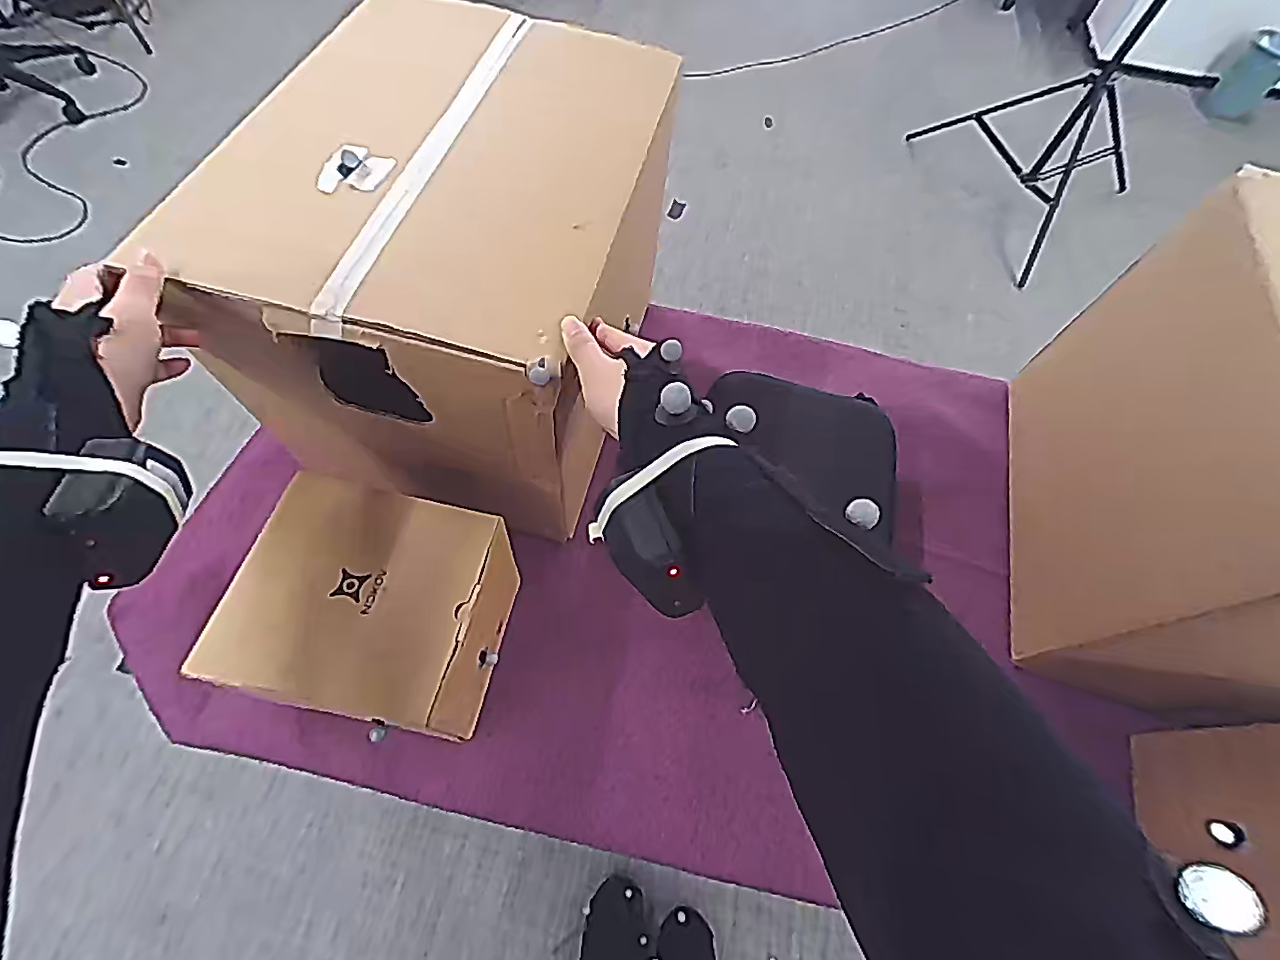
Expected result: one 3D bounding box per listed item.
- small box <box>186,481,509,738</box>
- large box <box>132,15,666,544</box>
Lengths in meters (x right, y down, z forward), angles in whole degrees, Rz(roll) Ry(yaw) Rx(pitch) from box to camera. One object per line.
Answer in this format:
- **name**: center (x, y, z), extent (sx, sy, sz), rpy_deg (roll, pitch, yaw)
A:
- **small box**: center (-0.230, 0.126, 0.486), extent (0.179, 0.176, 0.168), rpy_deg (13, 60, -1)
- **large box**: center (-0.174, -0.193, 0.585), extent (0.320, 0.320, 0.408), rpy_deg (13, 64, 2)
